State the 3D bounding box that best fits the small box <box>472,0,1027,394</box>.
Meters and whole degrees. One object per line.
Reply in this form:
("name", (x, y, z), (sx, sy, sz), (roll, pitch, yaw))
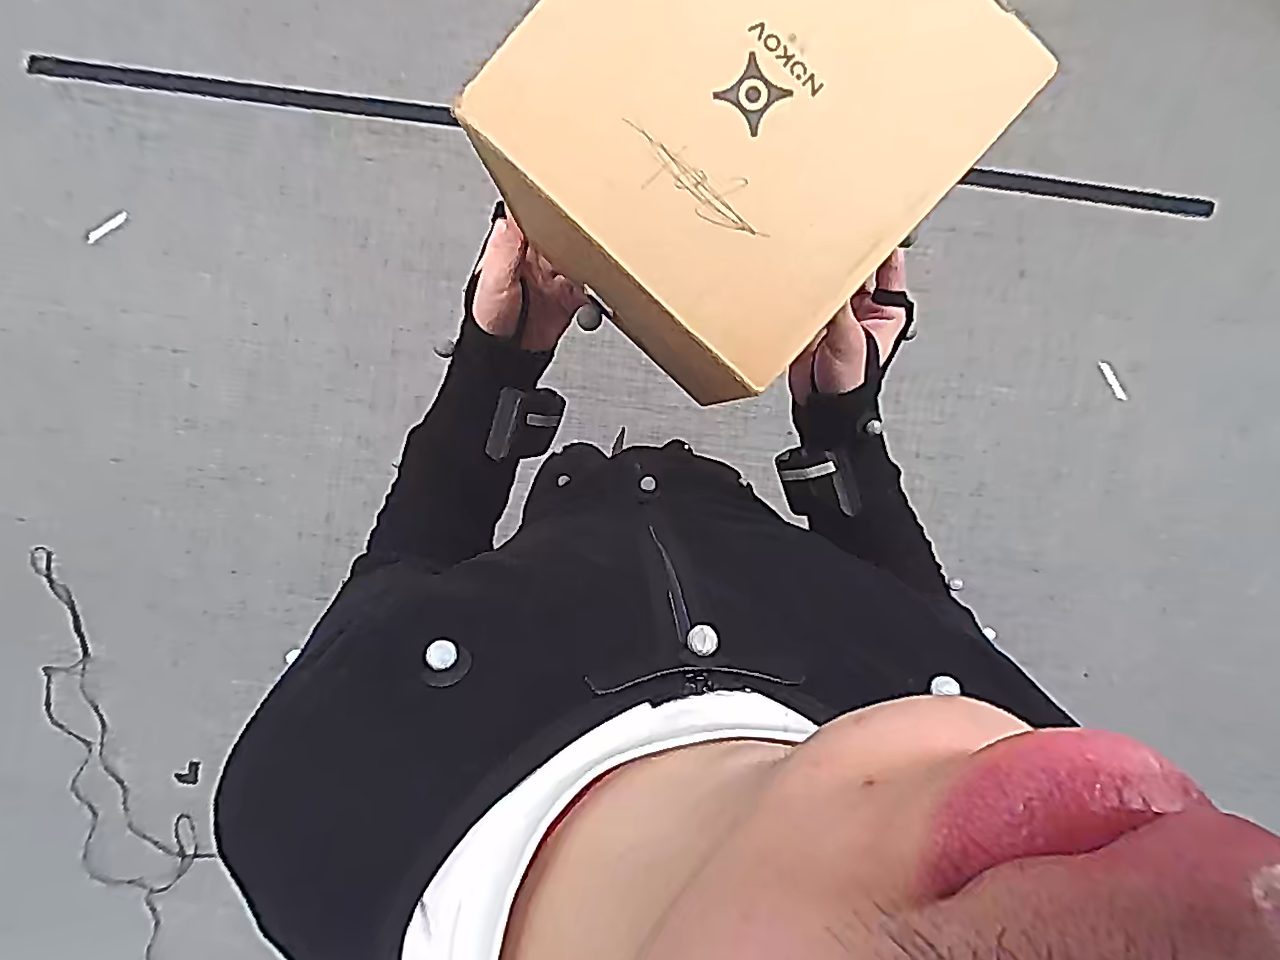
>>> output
("small box", (0.043, -0.166, 0.301), (0.168, 0.176, 0.179), (42, 94, -5))
